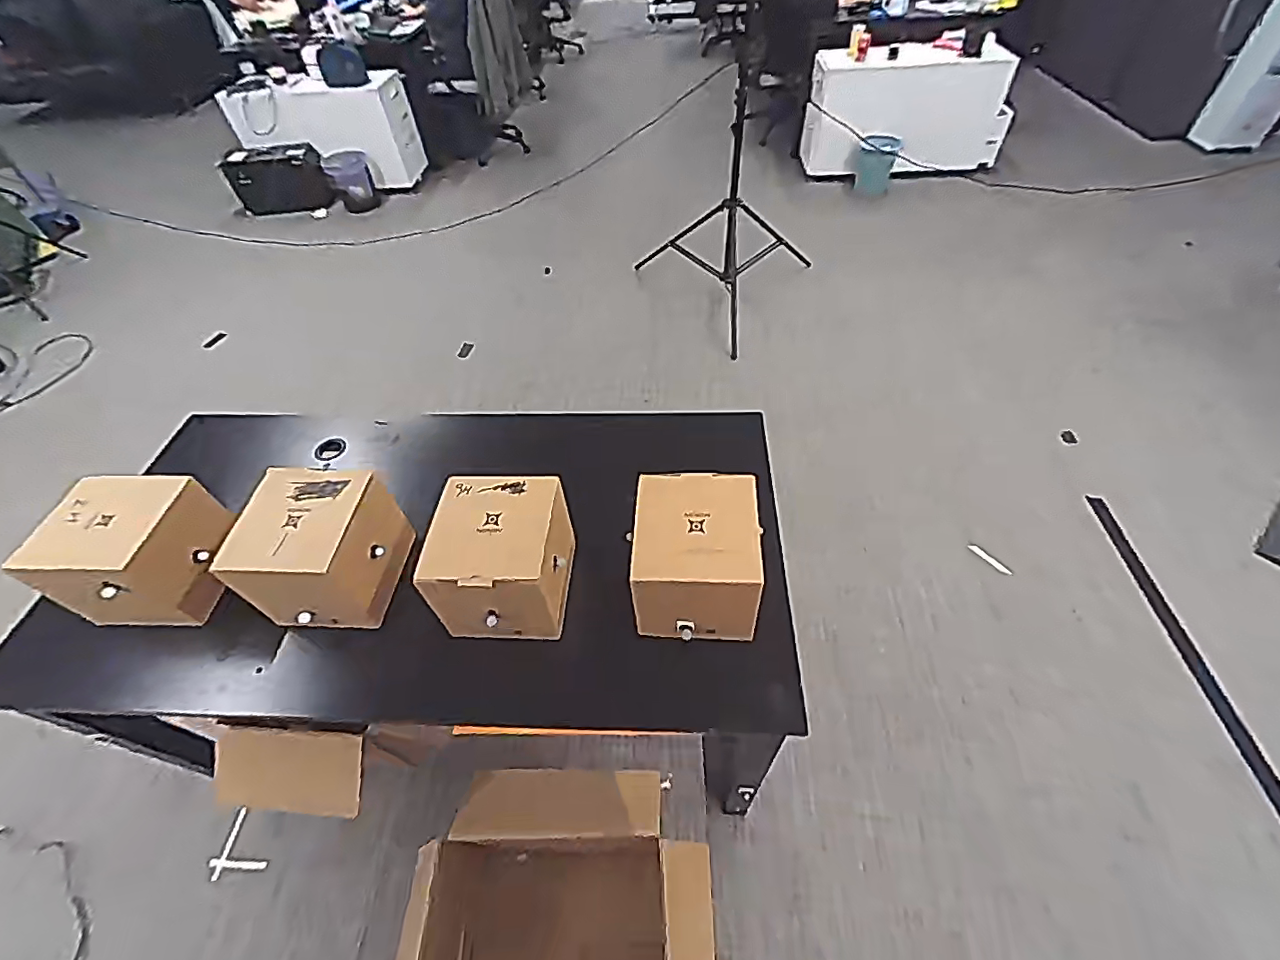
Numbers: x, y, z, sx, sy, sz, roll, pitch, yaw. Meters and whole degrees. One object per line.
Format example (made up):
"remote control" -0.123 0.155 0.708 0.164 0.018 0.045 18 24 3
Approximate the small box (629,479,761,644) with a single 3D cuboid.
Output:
"small box" 0.077 0.117 0.780 0.168 0.176 0.179 0 50 5

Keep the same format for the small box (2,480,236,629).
"small box" -0.760 0.116 0.828 0.179 0.176 0.168 0 49 3

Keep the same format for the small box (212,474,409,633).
"small box" -0.475 0.111 0.817 0.168 0.176 0.179 1 50 4

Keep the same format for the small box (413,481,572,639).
"small box" -0.200 0.120 0.794 0.168 0.176 0.179 0 50 4
